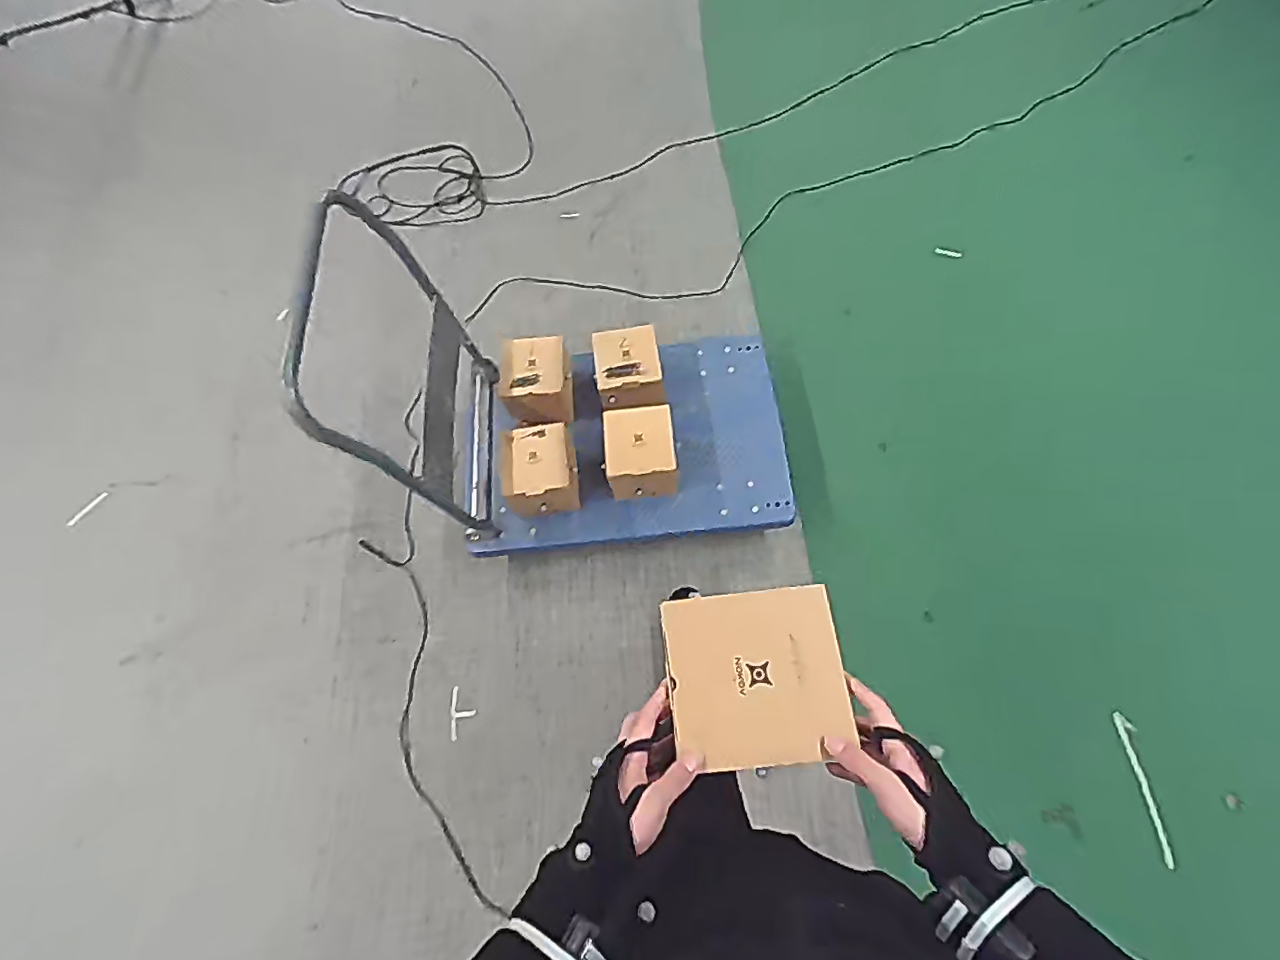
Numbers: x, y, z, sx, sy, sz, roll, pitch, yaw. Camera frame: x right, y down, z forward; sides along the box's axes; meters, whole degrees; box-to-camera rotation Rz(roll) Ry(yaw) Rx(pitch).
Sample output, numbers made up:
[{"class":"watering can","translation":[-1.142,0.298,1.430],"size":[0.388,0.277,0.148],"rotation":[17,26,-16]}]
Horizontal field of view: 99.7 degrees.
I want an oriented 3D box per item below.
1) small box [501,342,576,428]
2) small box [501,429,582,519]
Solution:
[{"class":"small box","translation":[-0.269,-0.250,1.471],"size":[0.168,0.176,0.179],"rotation":[-4,67,3]},{"class":"small box","translation":[-0.247,-0.008,1.371],"size":[0.168,0.176,0.179],"rotation":[-8,68,1]}]
